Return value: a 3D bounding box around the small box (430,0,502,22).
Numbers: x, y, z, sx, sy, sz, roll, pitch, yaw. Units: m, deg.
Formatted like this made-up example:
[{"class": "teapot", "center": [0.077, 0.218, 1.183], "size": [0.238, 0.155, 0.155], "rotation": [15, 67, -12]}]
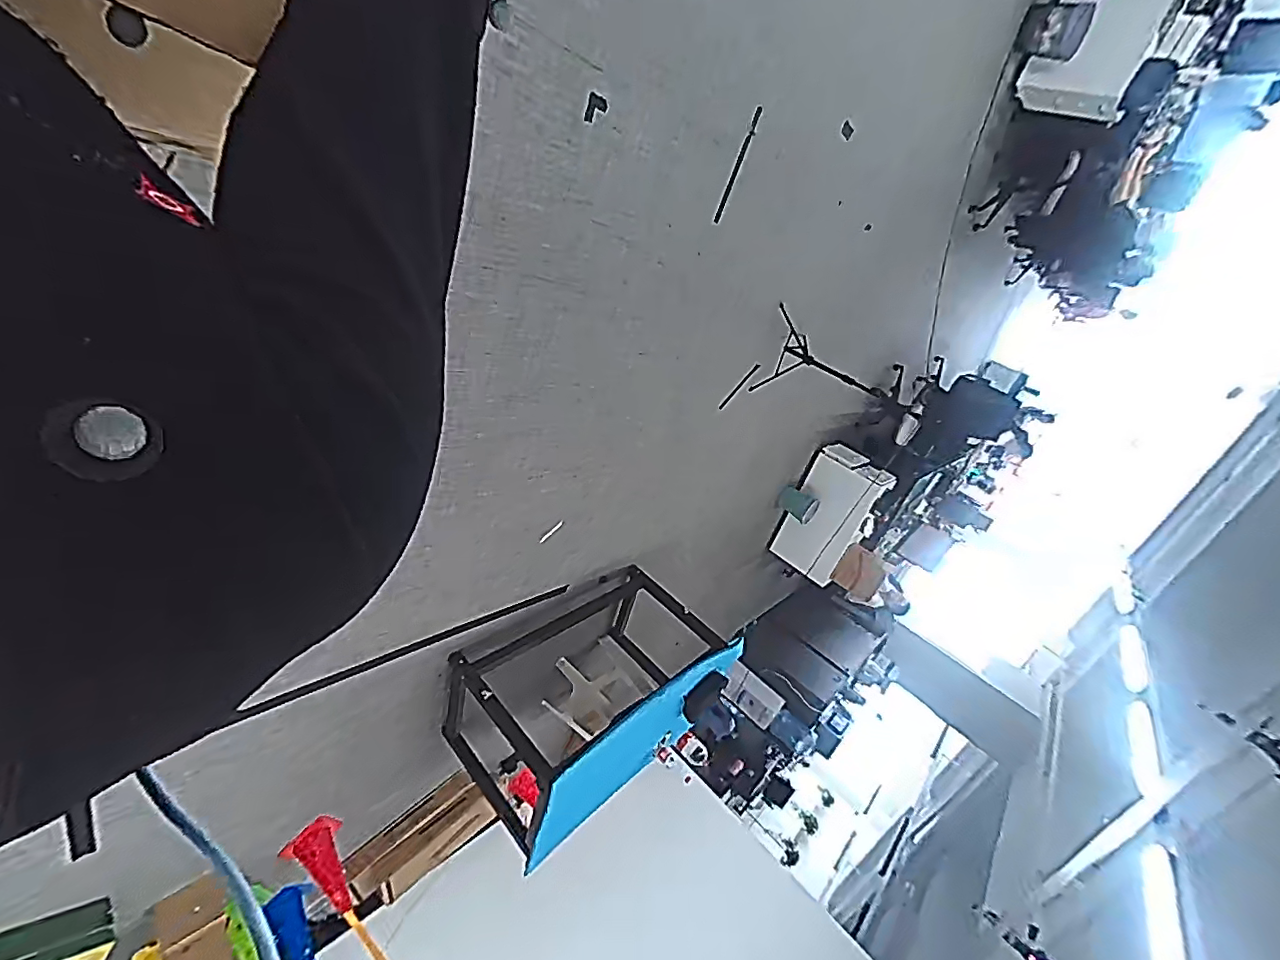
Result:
[{"class": "small box", "center": [-0.111, -0.329, 0.195], "size": [0.168, 0.176, 0.179], "rotation": [-48, 154, 15]}]
